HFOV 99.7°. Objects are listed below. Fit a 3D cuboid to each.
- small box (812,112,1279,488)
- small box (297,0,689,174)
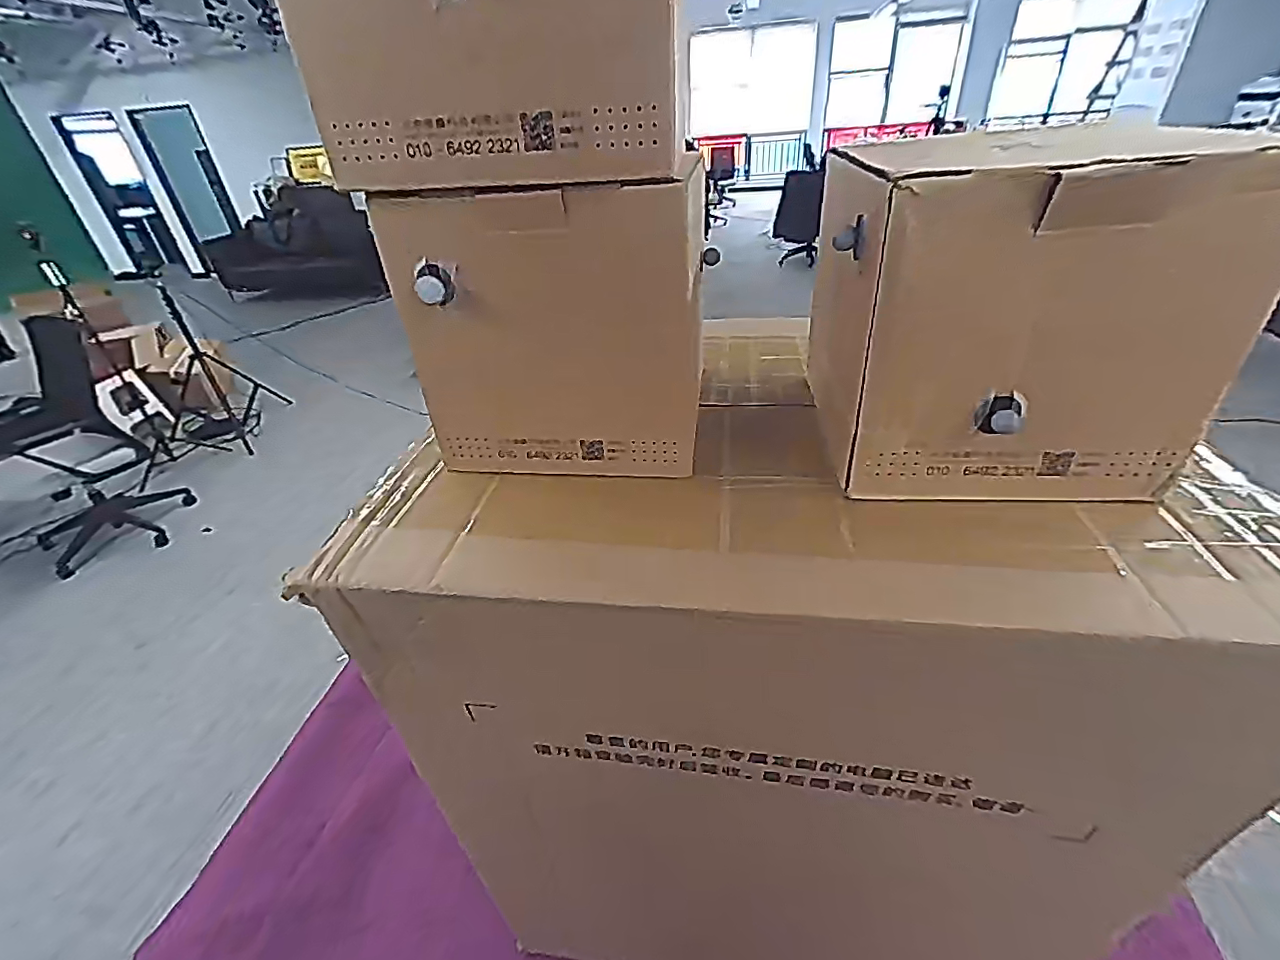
[{"bbox_3d":[0.204,-0.112,0.326,0.168,0.176,0.179,-1,35,8],"label":"small box"},{"bbox_3d":[-0.060,-0.258,0.277,0.168,0.176,0.179,1,34,5],"label":"small box"}]
